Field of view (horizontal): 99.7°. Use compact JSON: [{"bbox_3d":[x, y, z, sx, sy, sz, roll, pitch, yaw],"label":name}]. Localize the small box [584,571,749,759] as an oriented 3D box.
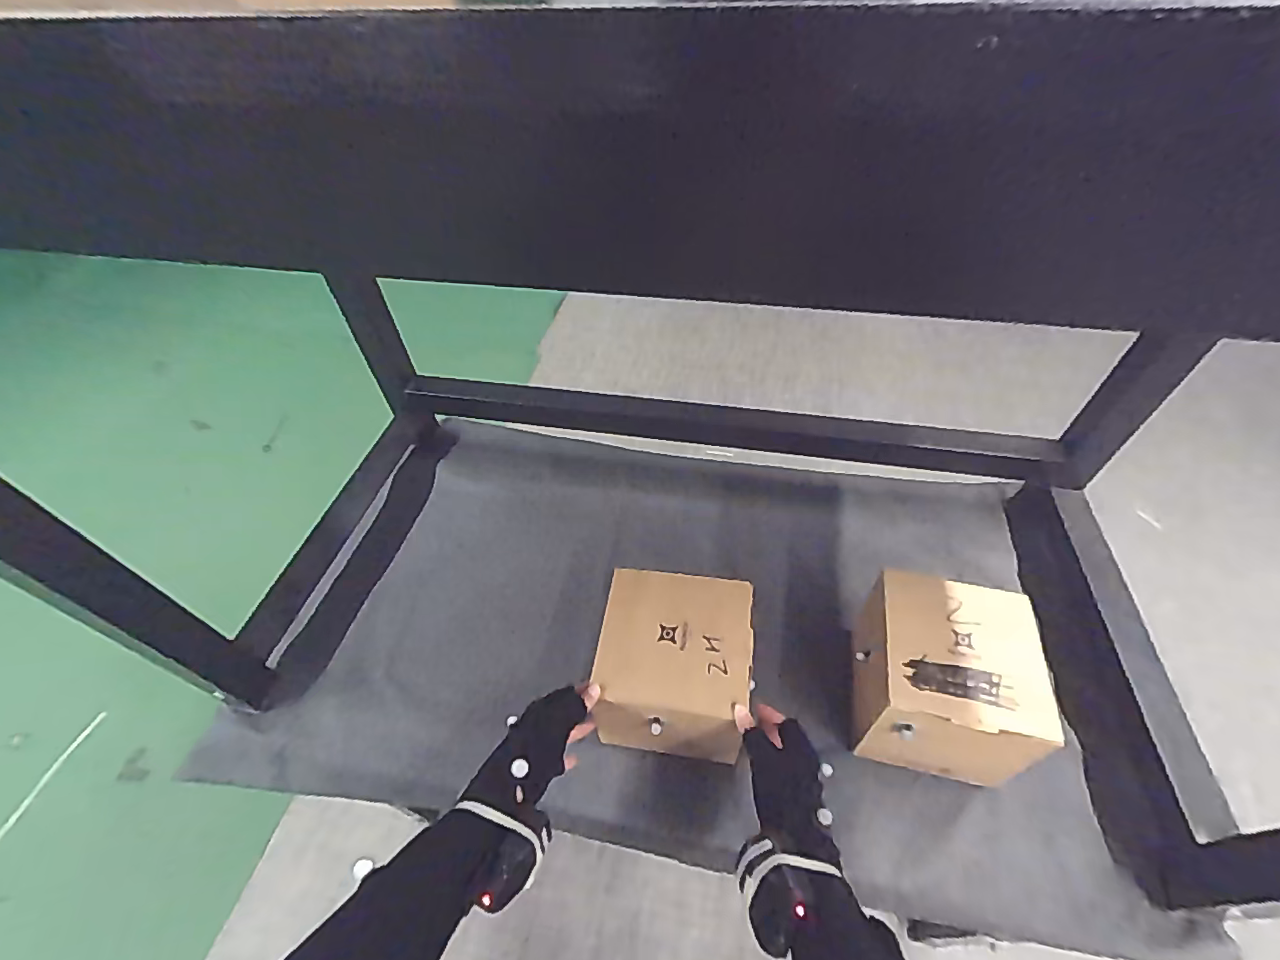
[{"bbox_3d":[0.040,0.237,0.686,0.179,0.176,0.168,6,50,8],"label":"small box"}]
